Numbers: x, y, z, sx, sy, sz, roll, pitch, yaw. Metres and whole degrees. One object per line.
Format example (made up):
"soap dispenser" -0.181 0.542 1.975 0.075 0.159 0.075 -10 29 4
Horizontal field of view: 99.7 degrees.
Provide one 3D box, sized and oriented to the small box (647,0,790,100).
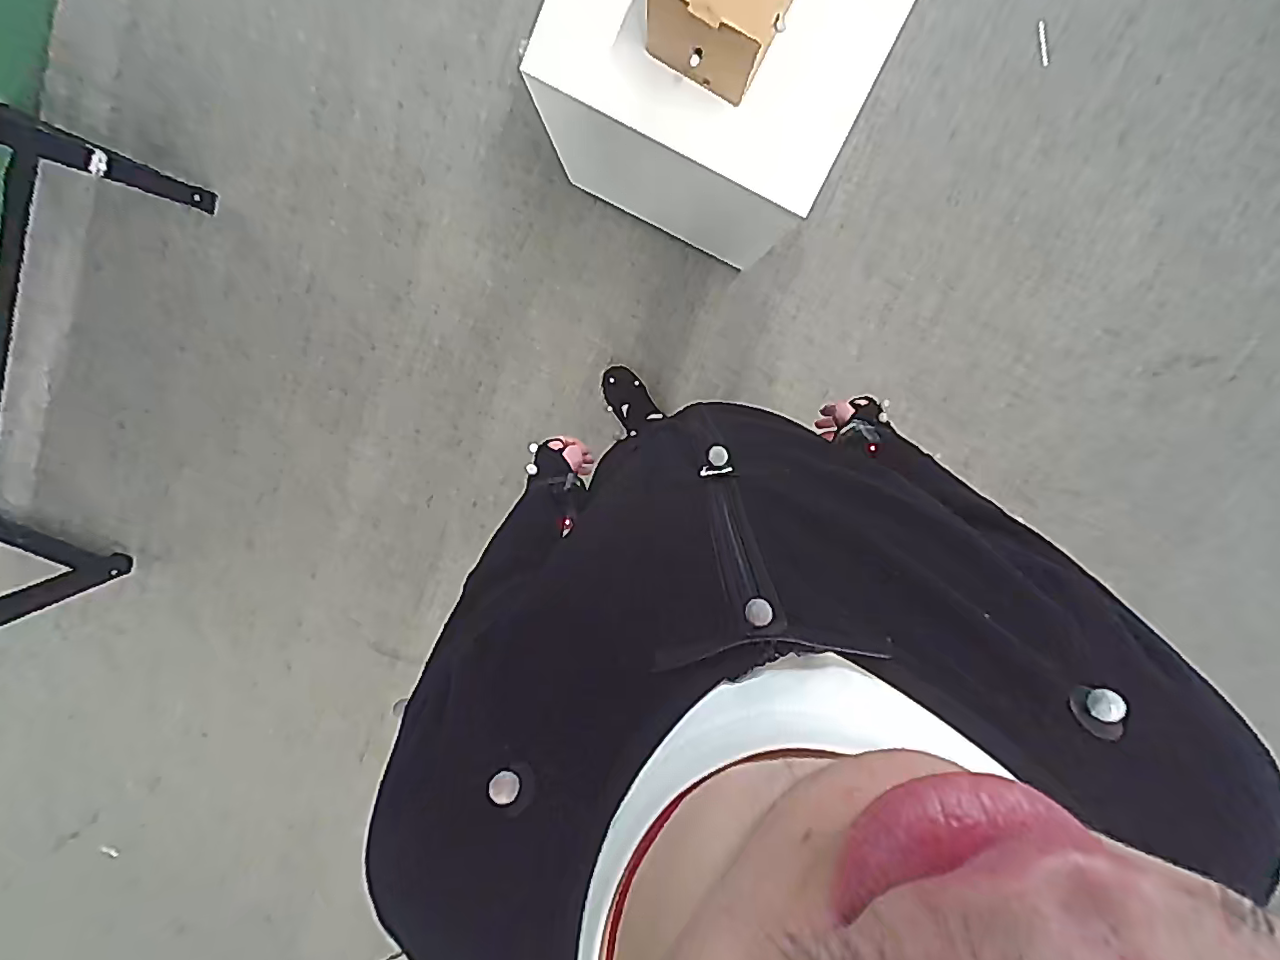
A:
"small box" 0.121 -0.679 0.747 0.168 0.176 0.179 25 101 -4
